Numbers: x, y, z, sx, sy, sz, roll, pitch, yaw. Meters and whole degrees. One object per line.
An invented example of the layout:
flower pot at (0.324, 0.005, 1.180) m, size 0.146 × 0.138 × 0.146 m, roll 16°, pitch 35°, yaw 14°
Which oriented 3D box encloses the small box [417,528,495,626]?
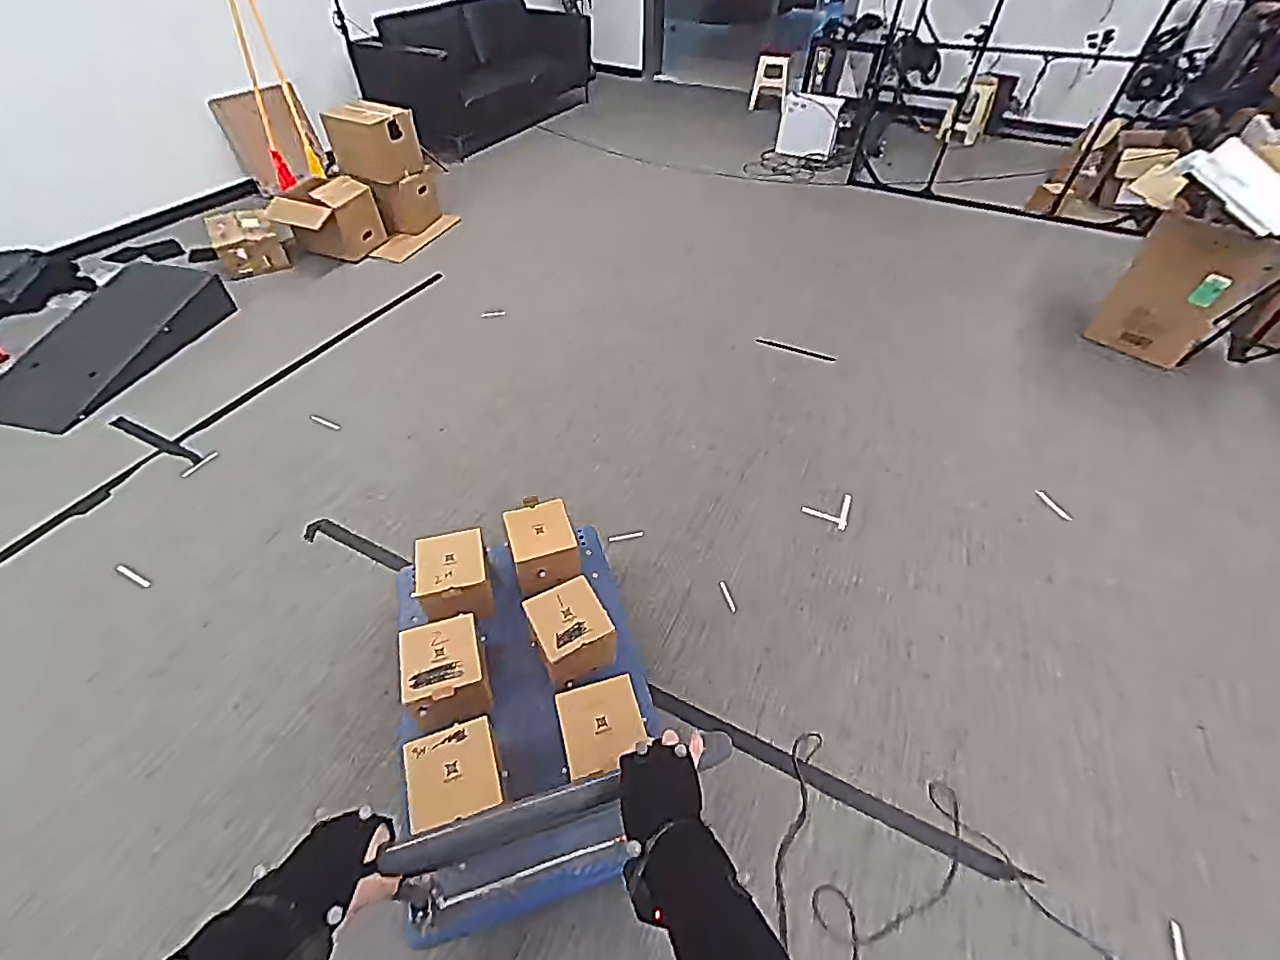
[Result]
small box at (-0.482, 0.256, 1.422) m, size 0.168 × 0.176 × 0.179 m, roll -11°, pitch 49°, yaw -12°

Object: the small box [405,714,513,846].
small box at (-0.362, 0.613, 1.095) m, size 0.168 × 0.176 × 0.179 m, roll -14°, pitch 49°, yaw -17°

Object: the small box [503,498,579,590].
small box at (-0.273, 0.185, 1.502) m, size 0.168 × 0.176 × 0.179 m, roll -15°, pitch 49°, yaw -15°

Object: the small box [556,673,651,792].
small box at (-0.081, 0.552, 1.170) m, size 0.168 × 0.176 × 0.179 m, roll -11°, pitch 48°, yaw -14°

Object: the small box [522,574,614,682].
small box at (-0.172, 0.372, 1.332) m, size 0.168 × 0.176 × 0.179 m, roll -22°, pitch 51°, yaw -21°
